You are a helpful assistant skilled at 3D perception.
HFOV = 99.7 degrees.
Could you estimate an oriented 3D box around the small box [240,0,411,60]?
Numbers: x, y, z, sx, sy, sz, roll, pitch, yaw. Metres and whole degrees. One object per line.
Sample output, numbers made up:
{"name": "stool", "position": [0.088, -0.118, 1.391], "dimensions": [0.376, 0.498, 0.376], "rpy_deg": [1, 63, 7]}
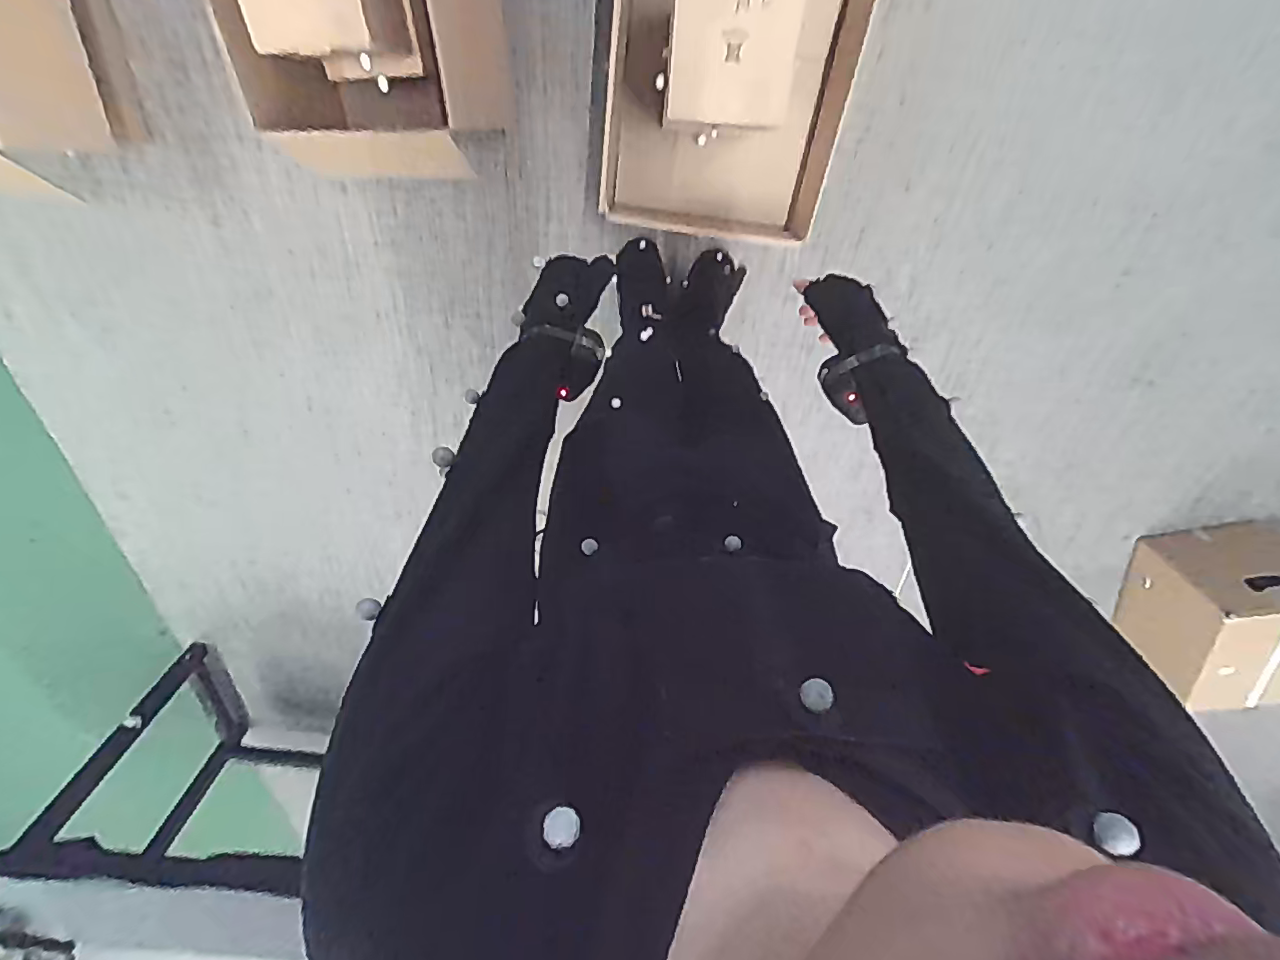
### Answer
{"name": "small box", "position": [-0.447, -0.706, 0.763], "dimensions": [0.168, 0.176, 0.179], "rpy_deg": [-1, 125, 2]}

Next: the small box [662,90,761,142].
{"name": "small box", "position": [0.129, -0.686, 0.918], "dimensions": [0.168, 0.176, 0.179], "rpy_deg": [6, 122, -2]}

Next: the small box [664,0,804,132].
{"name": "small box", "position": [0.123, -0.606, 0.774], "dimensions": [0.168, 0.176, 0.179], "rpy_deg": [3, 122, -1]}
